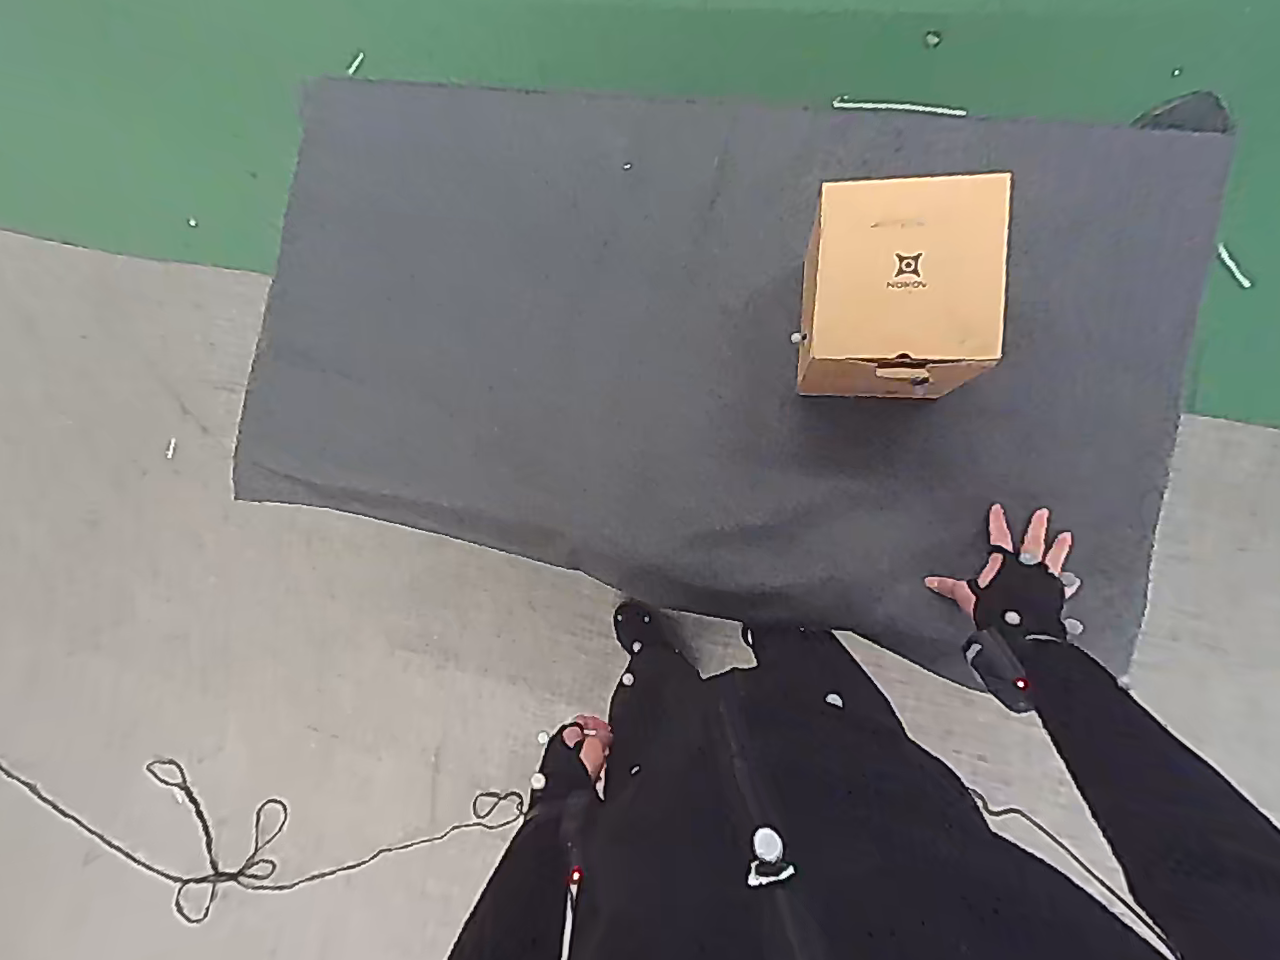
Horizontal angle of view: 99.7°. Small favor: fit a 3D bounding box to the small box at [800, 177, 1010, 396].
[{"bbox_3d":[0.269,-0.193,0.586,0.168,0.176,0.179,4,86,11],"label":"small box"}]
